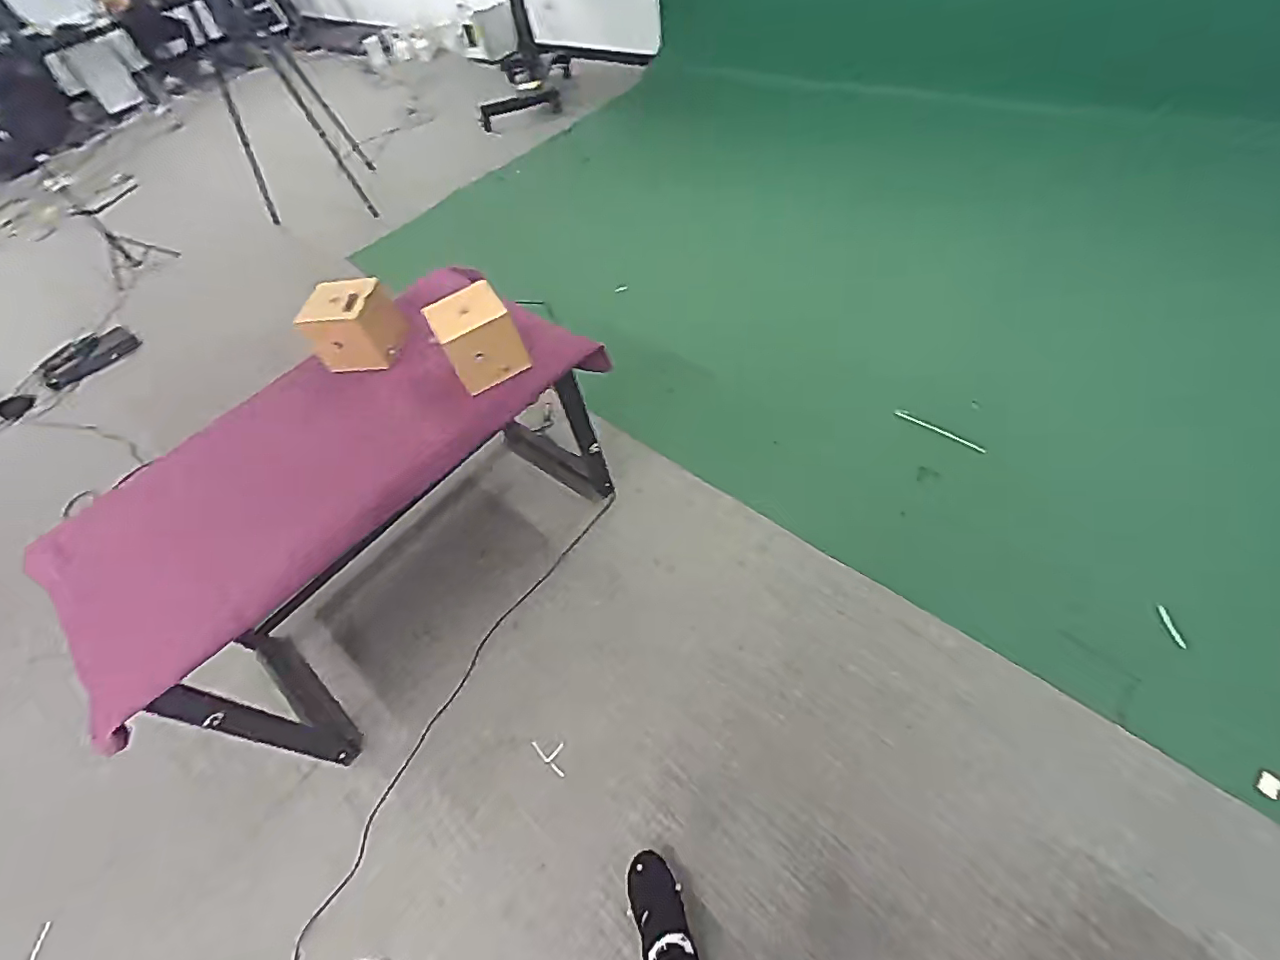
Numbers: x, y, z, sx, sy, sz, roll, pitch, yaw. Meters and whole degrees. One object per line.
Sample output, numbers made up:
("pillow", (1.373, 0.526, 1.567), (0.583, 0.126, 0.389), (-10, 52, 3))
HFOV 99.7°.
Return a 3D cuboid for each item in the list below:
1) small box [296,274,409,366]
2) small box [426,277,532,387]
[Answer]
("small box", (-0.742, -0.416, 1.421), (0.179, 0.176, 0.168), (-1, 55, 10))
("small box", (-0.383, -0.348, 1.304), (0.168, 0.176, 0.179), (-30, 53, -10))
